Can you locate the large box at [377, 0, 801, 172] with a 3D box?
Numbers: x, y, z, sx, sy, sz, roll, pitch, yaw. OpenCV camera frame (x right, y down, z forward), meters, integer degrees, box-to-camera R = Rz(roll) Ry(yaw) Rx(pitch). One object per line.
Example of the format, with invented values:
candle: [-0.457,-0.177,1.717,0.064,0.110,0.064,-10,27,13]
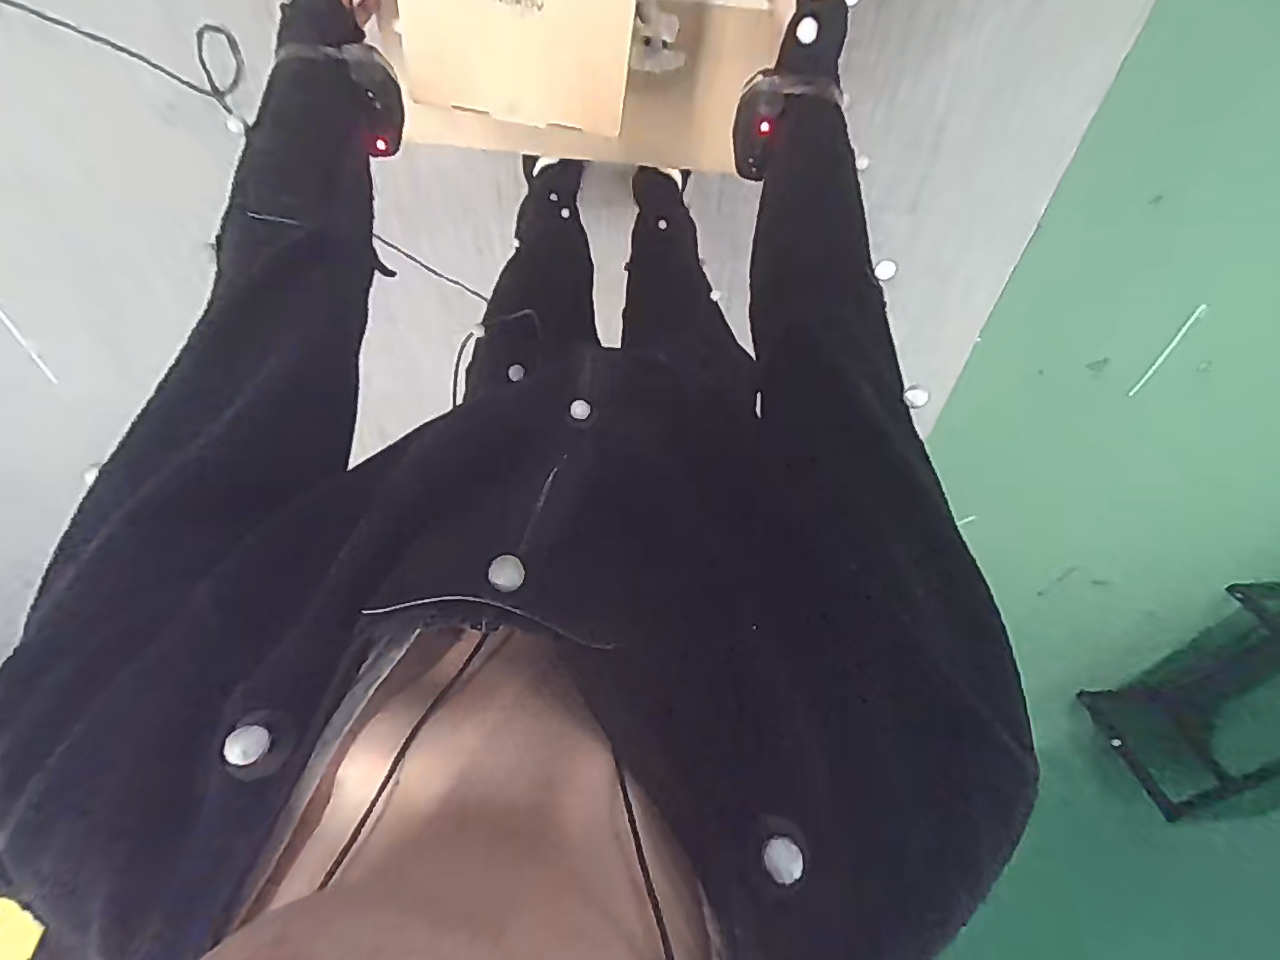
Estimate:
large box: [-0.053,-0.569,0.596,0.408,0.320,0.320,2,137,-6]

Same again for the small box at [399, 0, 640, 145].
small box: [-0.086,-0.397,0.419,0.168,0.176,0.179,5,138,-9]
